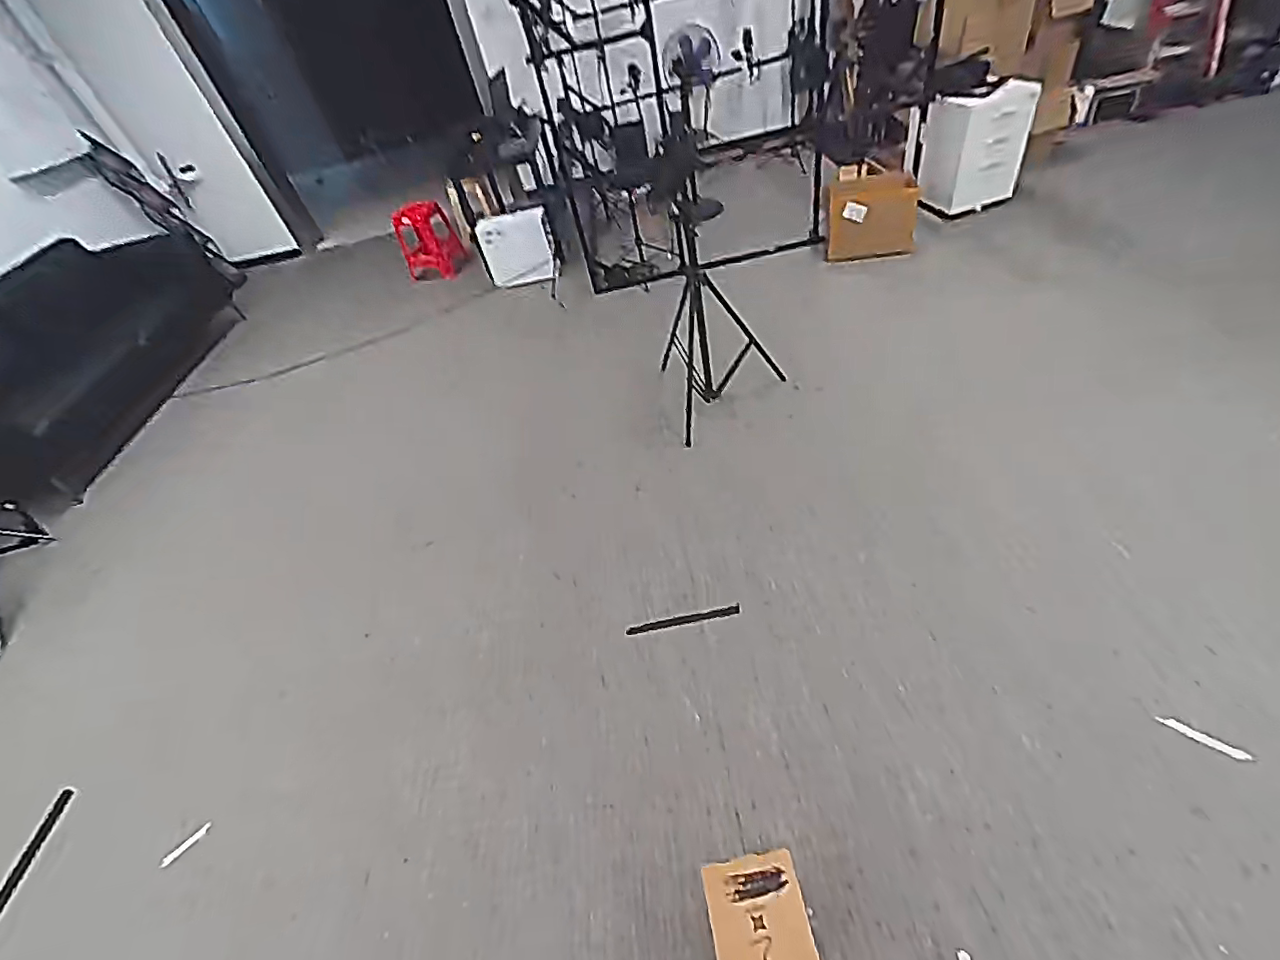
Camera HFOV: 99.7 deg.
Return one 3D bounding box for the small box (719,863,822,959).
[{"bbox_3d":[0.260,0.903,1.086,0.168,0.176,0.179,-12,44,3],"label":"small box"}]
